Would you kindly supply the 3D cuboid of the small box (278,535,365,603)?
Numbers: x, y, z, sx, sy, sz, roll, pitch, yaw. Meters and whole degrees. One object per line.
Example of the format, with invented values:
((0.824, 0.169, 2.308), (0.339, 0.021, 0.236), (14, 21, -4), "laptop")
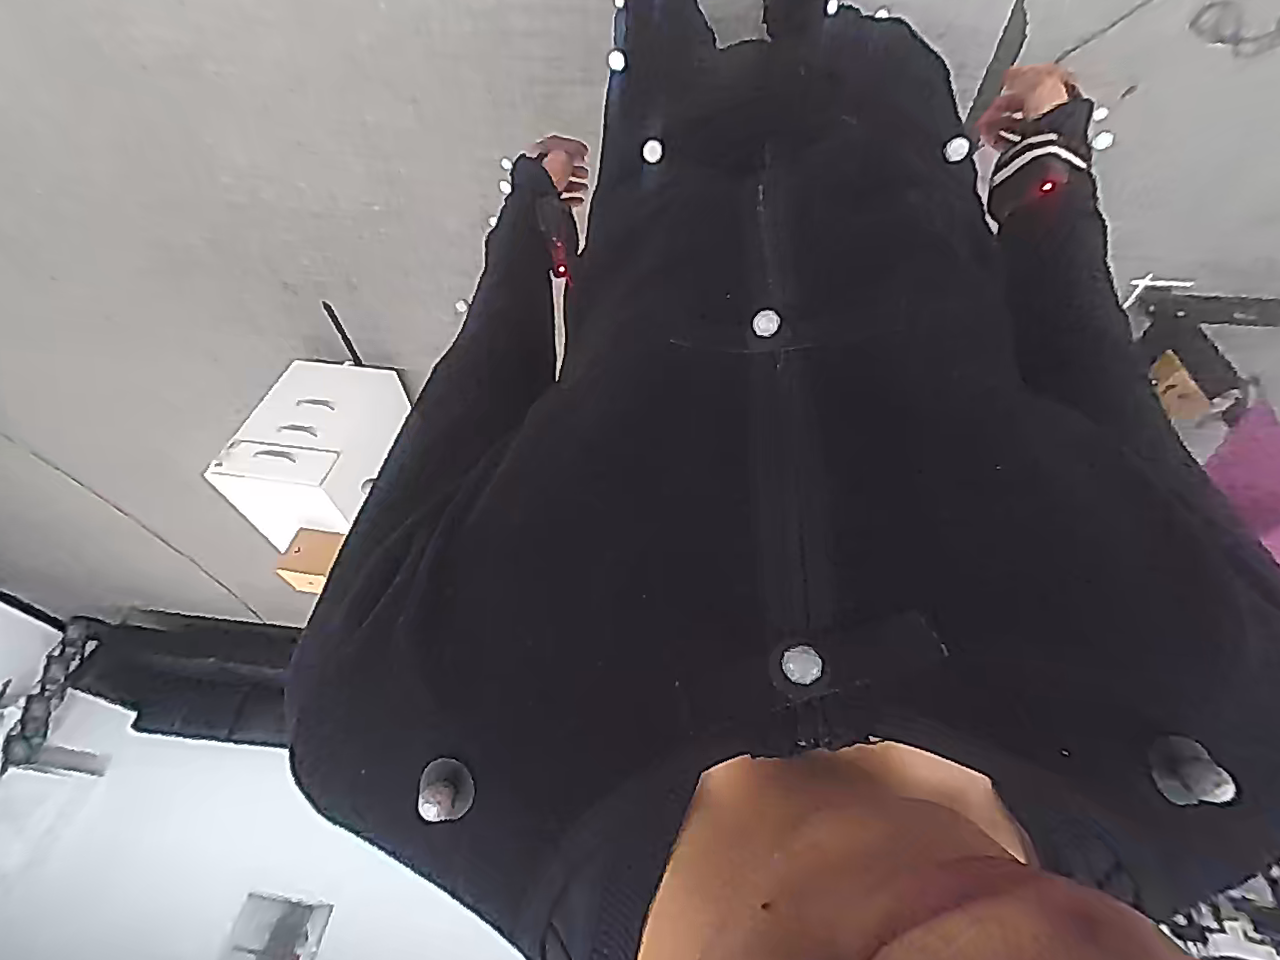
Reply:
((-1.112, 0.311, 1.904), (0.179, 0.176, 0.168), (7, 143, 3), "small box")
